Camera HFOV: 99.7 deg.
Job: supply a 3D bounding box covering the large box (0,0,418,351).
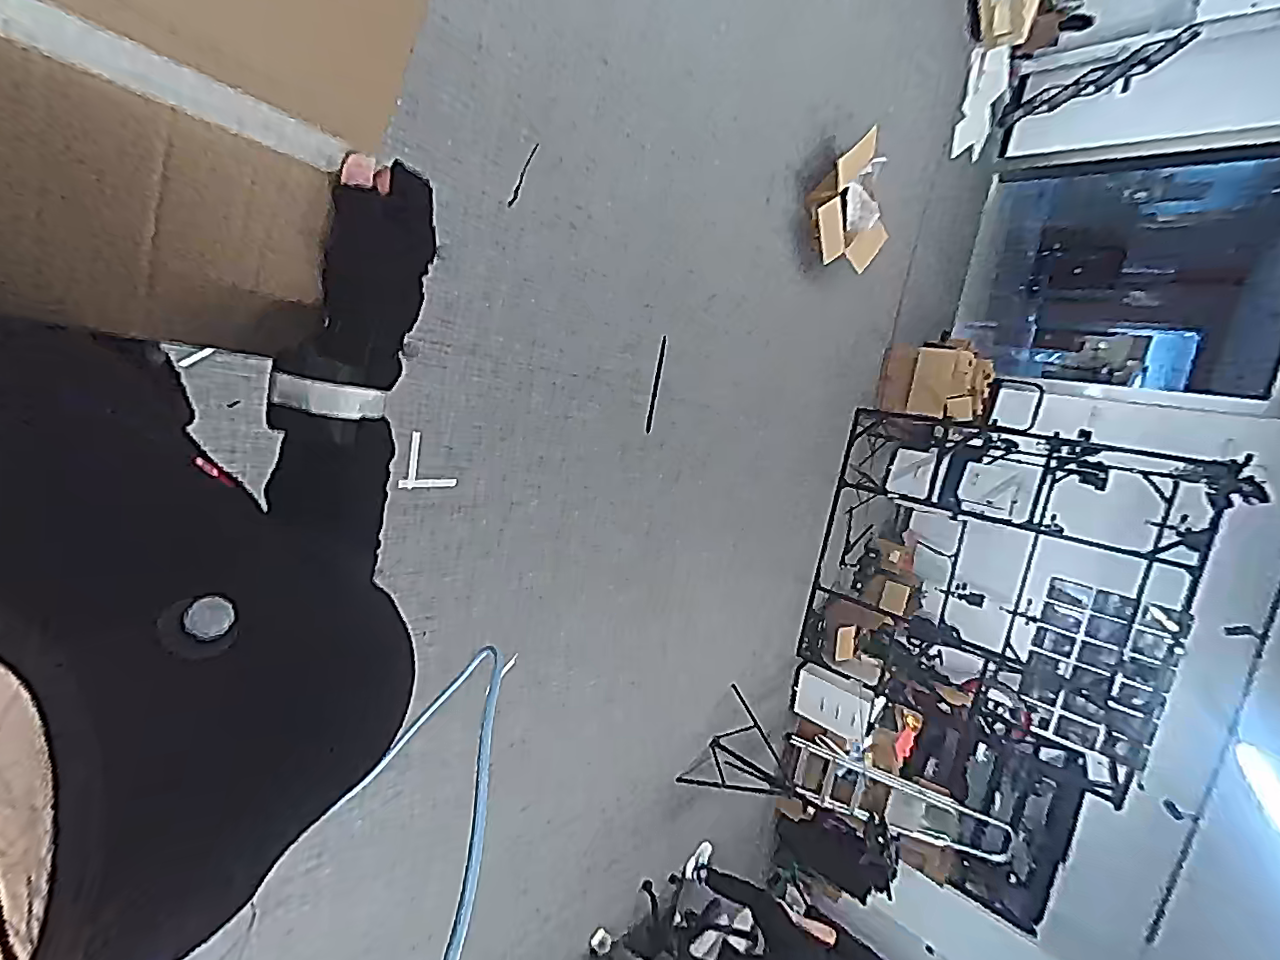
[{"bbox_3d":[-0.396,-0.316,0.292,0.408,0.320,0.320,2,132,-48],"label":"large box"}]
